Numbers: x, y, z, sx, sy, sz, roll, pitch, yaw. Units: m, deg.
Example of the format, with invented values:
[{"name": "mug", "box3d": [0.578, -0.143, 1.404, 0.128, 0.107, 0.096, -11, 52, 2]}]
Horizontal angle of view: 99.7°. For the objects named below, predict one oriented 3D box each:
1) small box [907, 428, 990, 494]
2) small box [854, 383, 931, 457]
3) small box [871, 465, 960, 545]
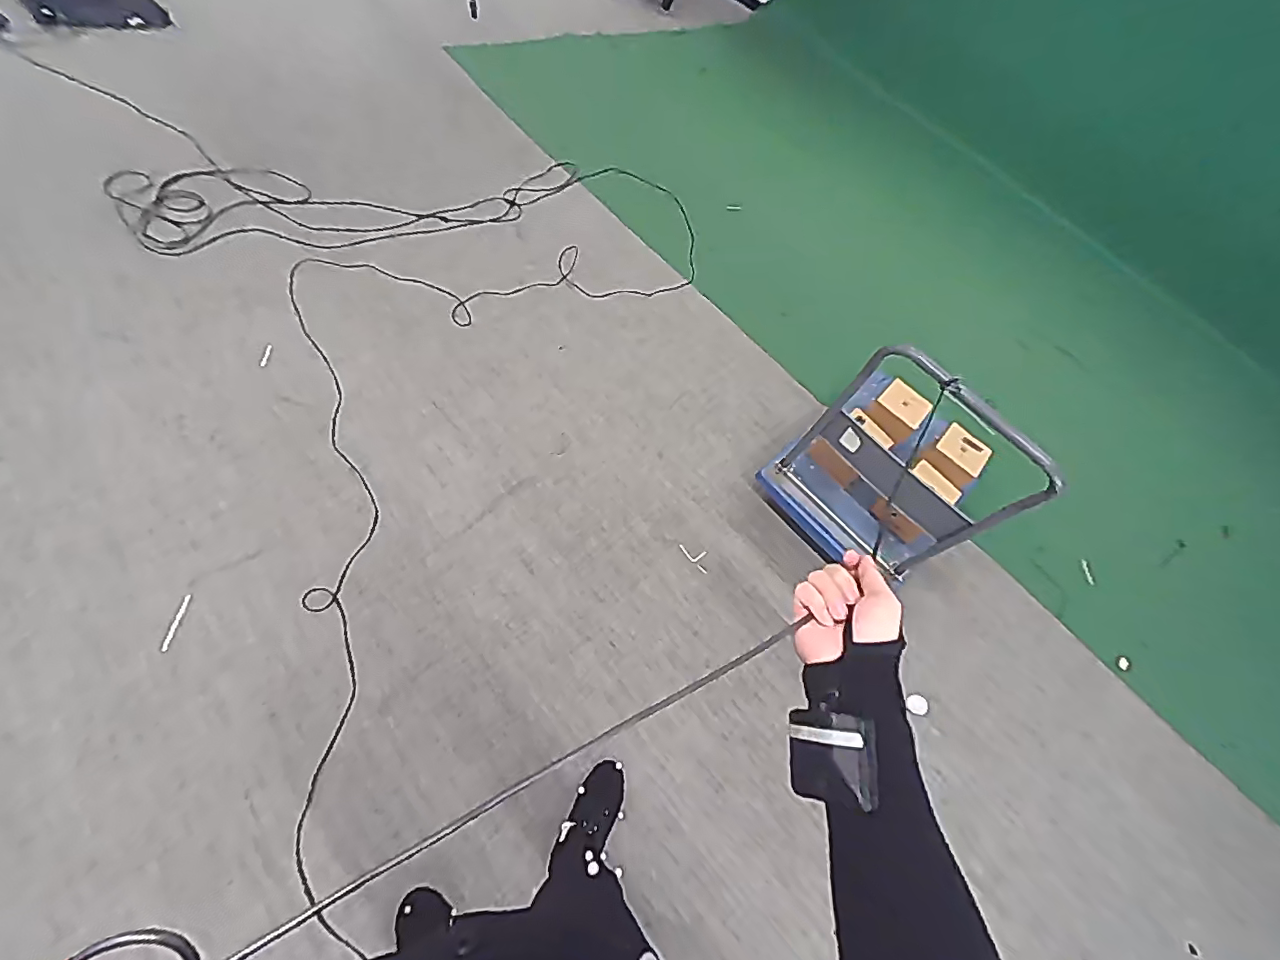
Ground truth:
[{"name": "small box", "box3d": [1.105, -0.050, 1.946, 0.168, 0.176, 0.179, 43, 59, 12]}, {"name": "small box", "box3d": [0.924, -0.217, 1.997, 0.168, 0.176, 0.179, 44, 58, 11]}, {"name": "small box", "box3d": [0.914, 0.086, 1.810, 0.179, 0.176, 0.168, -35, 74, -29]}]
